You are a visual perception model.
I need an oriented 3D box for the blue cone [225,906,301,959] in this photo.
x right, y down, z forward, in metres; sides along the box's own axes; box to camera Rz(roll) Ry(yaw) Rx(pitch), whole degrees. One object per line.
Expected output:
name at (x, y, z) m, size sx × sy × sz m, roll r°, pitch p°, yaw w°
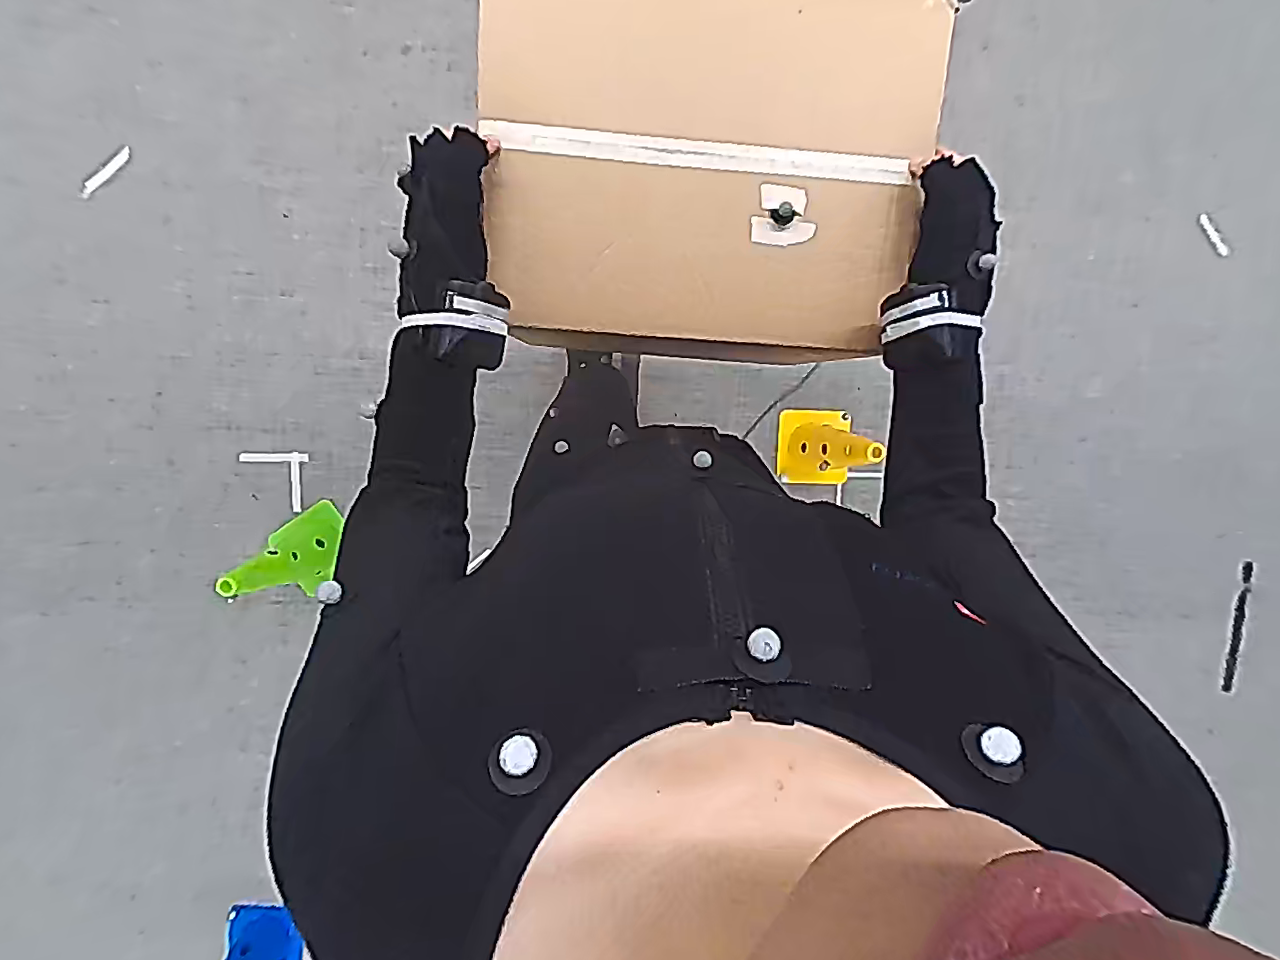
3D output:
blue cone at (-1.047, 1.306, 1.359) m, size 0.192 × 0.380 × 0.193 m, roll 6°, pitch 94°, yaw -2°

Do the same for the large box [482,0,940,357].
large box at (0.048, -0.319, 0.628) m, size 0.408 × 0.320 × 0.320 m, roll 3°, pitch 100°, yaw -5°

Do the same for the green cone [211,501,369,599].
green cone at (-0.842, 0.197, 1.259) m, size 0.202 × 0.368 × 0.200 m, roll -35°, pitch 95°, yaw 2°
